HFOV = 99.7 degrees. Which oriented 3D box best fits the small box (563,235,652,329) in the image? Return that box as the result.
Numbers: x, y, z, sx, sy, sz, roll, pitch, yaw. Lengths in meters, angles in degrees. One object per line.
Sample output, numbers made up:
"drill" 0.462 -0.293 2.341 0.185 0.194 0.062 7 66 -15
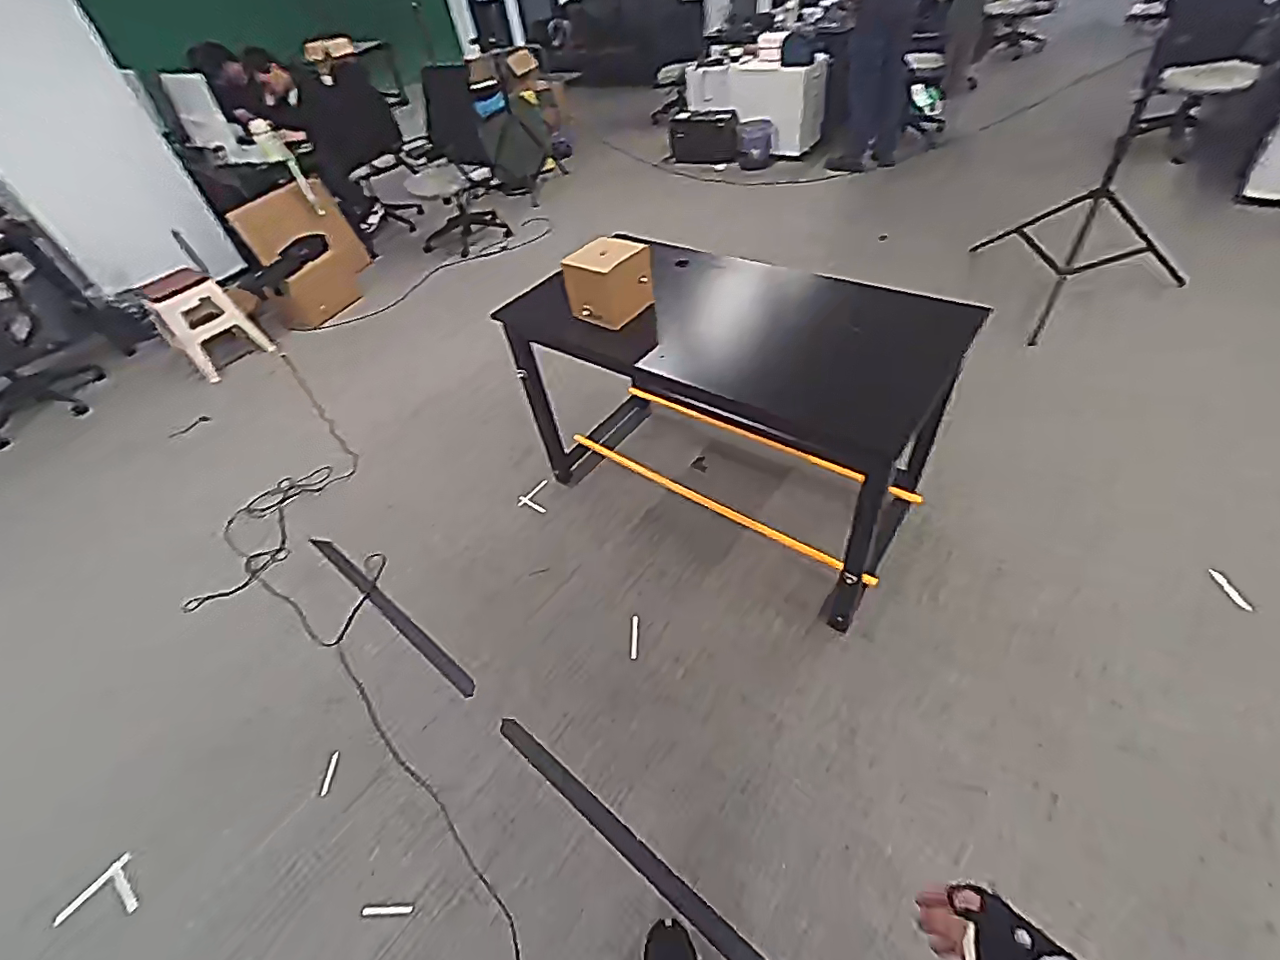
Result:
"small box" -0.080 -0.544 1.483 0.168 0.176 0.179 25 56 31
